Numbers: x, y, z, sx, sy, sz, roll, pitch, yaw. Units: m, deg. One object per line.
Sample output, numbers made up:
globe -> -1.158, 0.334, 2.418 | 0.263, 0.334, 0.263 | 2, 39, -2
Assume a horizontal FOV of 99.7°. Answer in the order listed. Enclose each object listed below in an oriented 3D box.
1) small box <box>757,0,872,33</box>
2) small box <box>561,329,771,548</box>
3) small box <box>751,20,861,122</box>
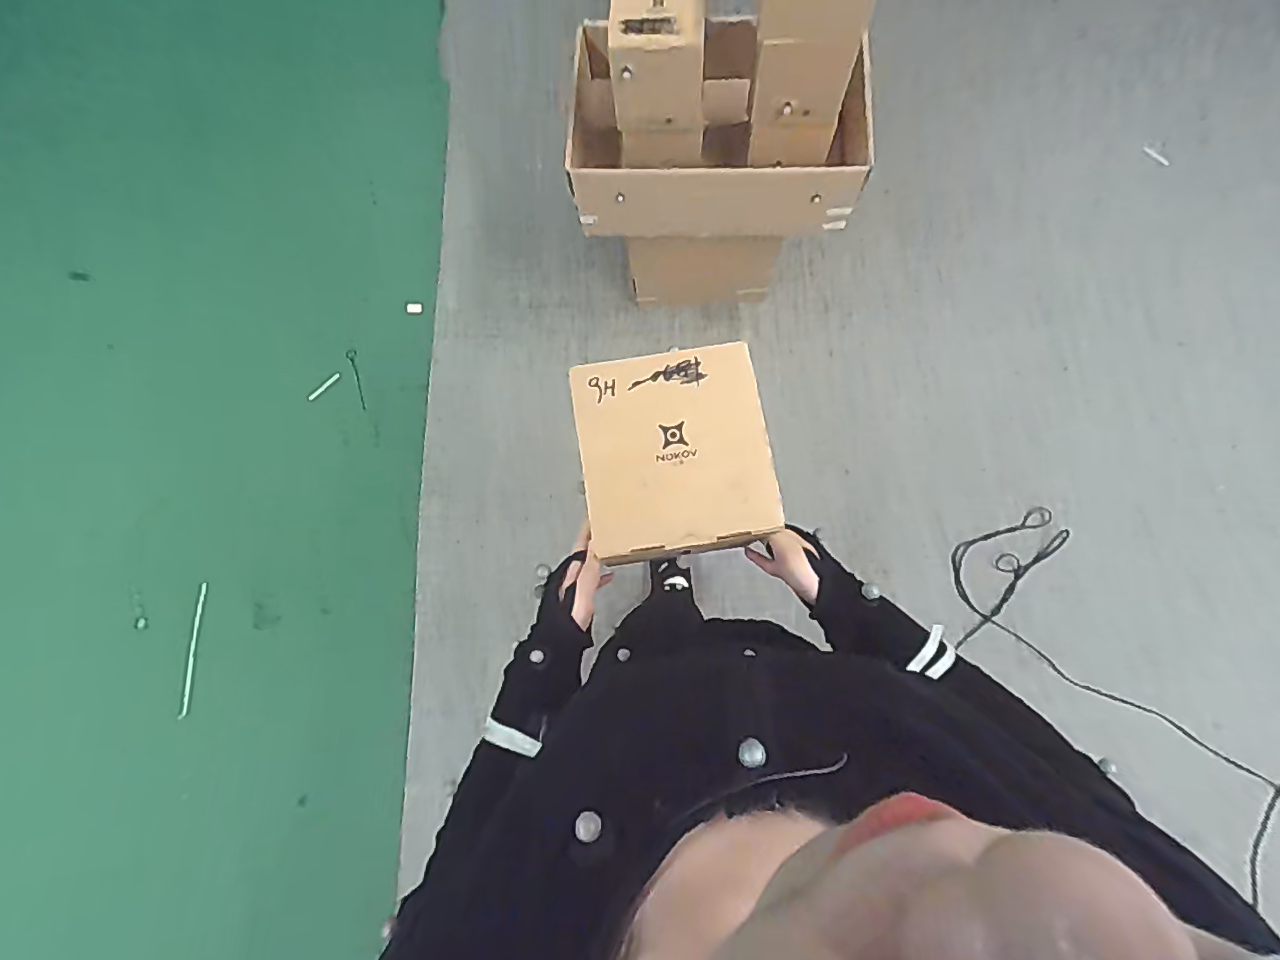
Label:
small box -> 0.282, -0.828, 0.825 | 0.179, 0.176, 0.168 | 5, 78, 8
small box -> 0.022, -0.027, 0.549 | 0.168, 0.176, 0.179 | -9, 80, -1
small box -> 0.297, -0.799, 0.987 | 0.168, 0.176, 0.179 | 4, 79, 6
